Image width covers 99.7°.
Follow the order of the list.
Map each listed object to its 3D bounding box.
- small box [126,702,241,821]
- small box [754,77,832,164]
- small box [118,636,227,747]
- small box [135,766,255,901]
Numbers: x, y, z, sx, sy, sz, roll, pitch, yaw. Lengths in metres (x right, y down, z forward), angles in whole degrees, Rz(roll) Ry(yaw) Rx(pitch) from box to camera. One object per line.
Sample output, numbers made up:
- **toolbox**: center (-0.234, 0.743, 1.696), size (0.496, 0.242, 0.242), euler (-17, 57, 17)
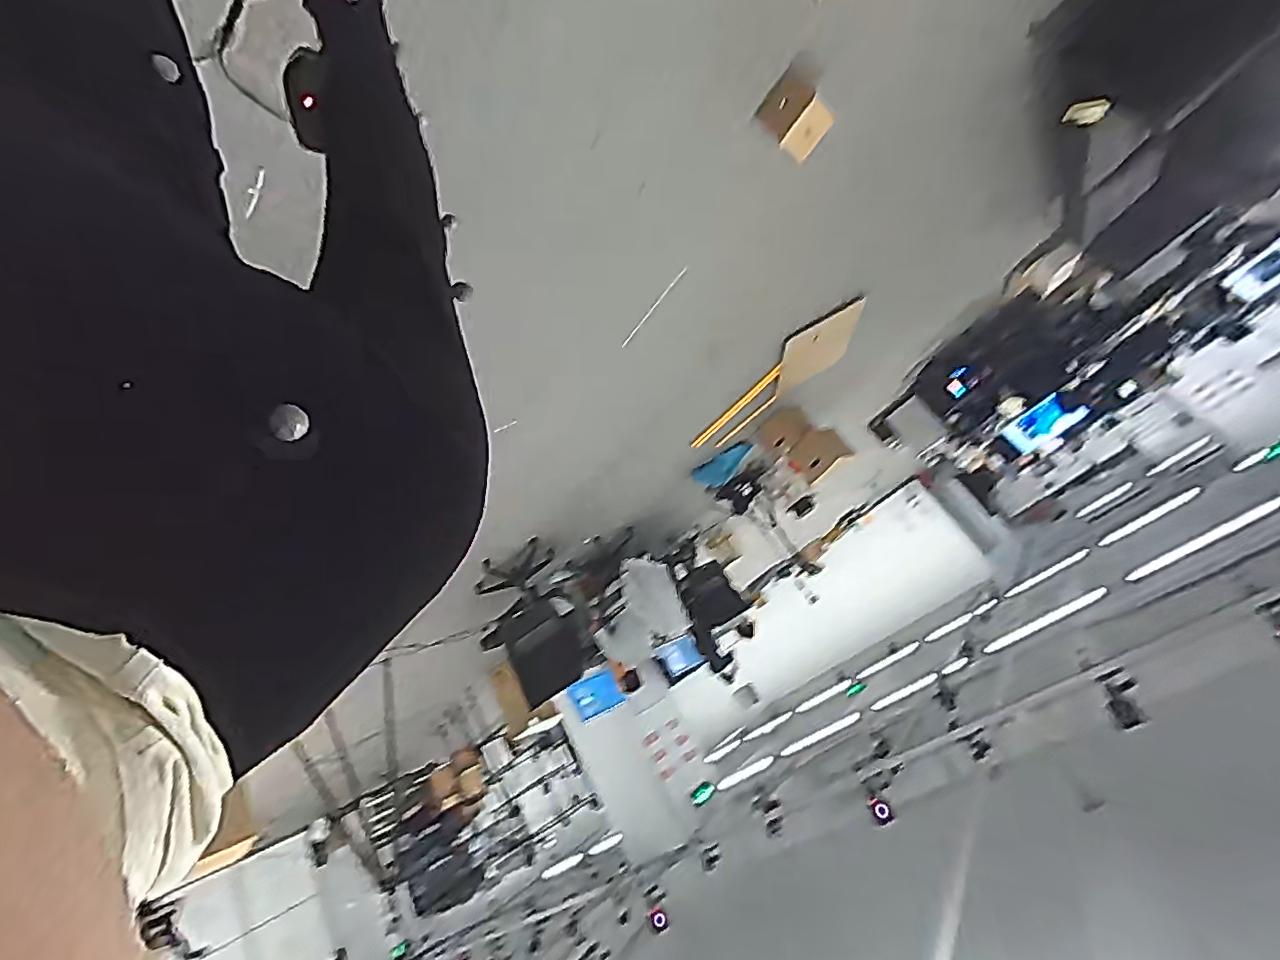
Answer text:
- **small box**: center (-1.057, 0.636, 1.247), size (0.168, 0.176, 0.179), euler (0, 141, -52)
- **small box**: center (0.531, -1.260, 1.891), size (0.179, 0.176, 0.168), euler (-3, 145, -51)
- **small box**: center (-1.134, 0.505, 1.307), size (0.168, 0.176, 0.179), euler (1, 139, -52)
- **small box**: center (-0.976, 0.761, 1.181), size (0.168, 0.176, 0.179), euler (0, 140, -52)
